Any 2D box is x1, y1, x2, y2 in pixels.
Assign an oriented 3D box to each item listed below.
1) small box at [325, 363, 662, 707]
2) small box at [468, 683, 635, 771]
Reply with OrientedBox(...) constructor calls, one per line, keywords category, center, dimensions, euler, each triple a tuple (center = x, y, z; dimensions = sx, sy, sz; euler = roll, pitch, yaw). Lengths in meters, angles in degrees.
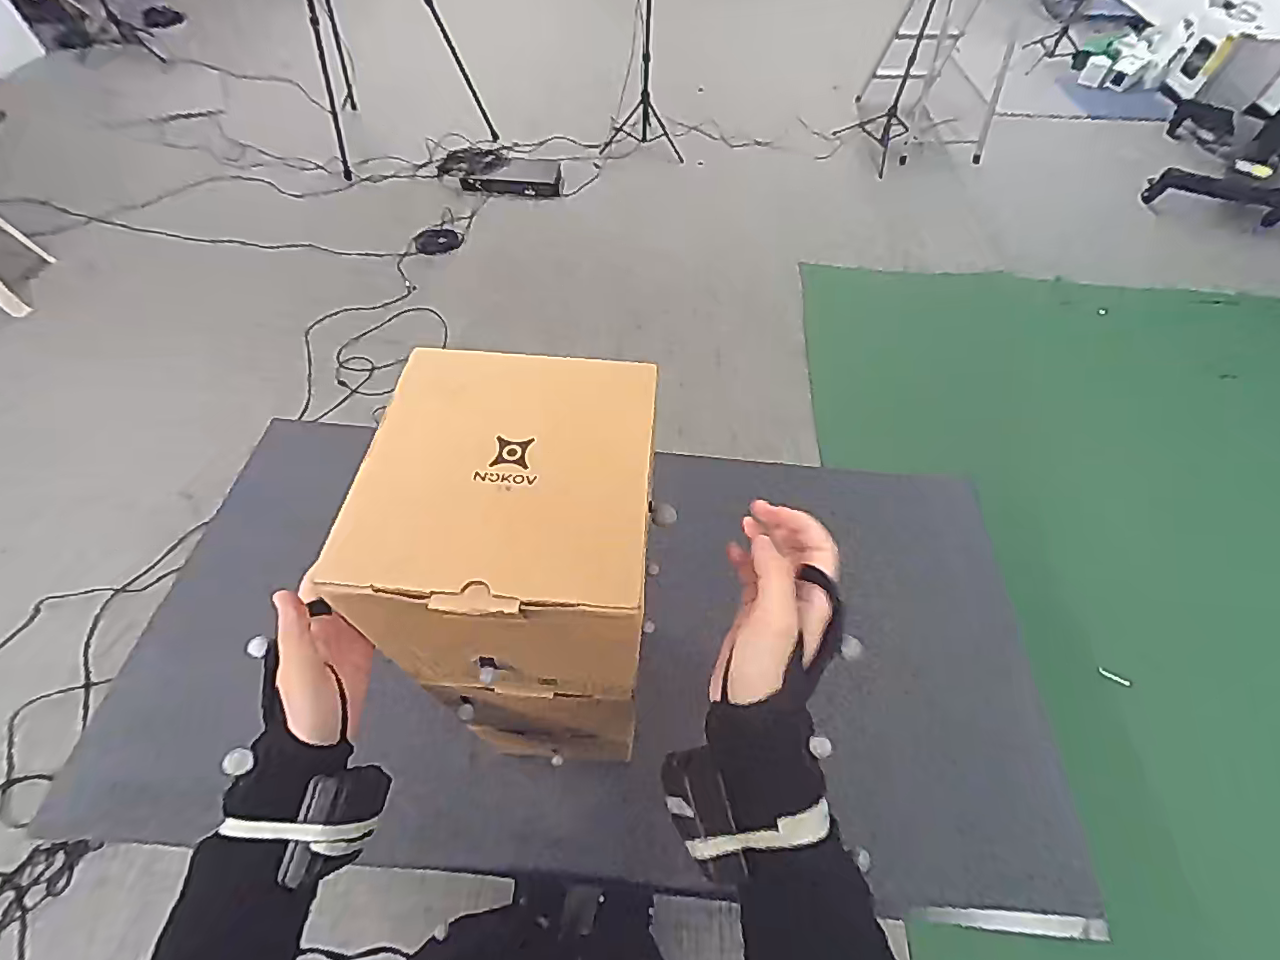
OrientedBox(category="small box", center=(-0.077, 0.044, 0.383), dimensions=(0.168, 0.176, 0.179), euler=(4, 55, 0))
OrientedBox(category="small box", center=(-0.089, 0.234, 0.648), dimensions=(0.168, 0.176, 0.179), euler=(4, 55, 1))
